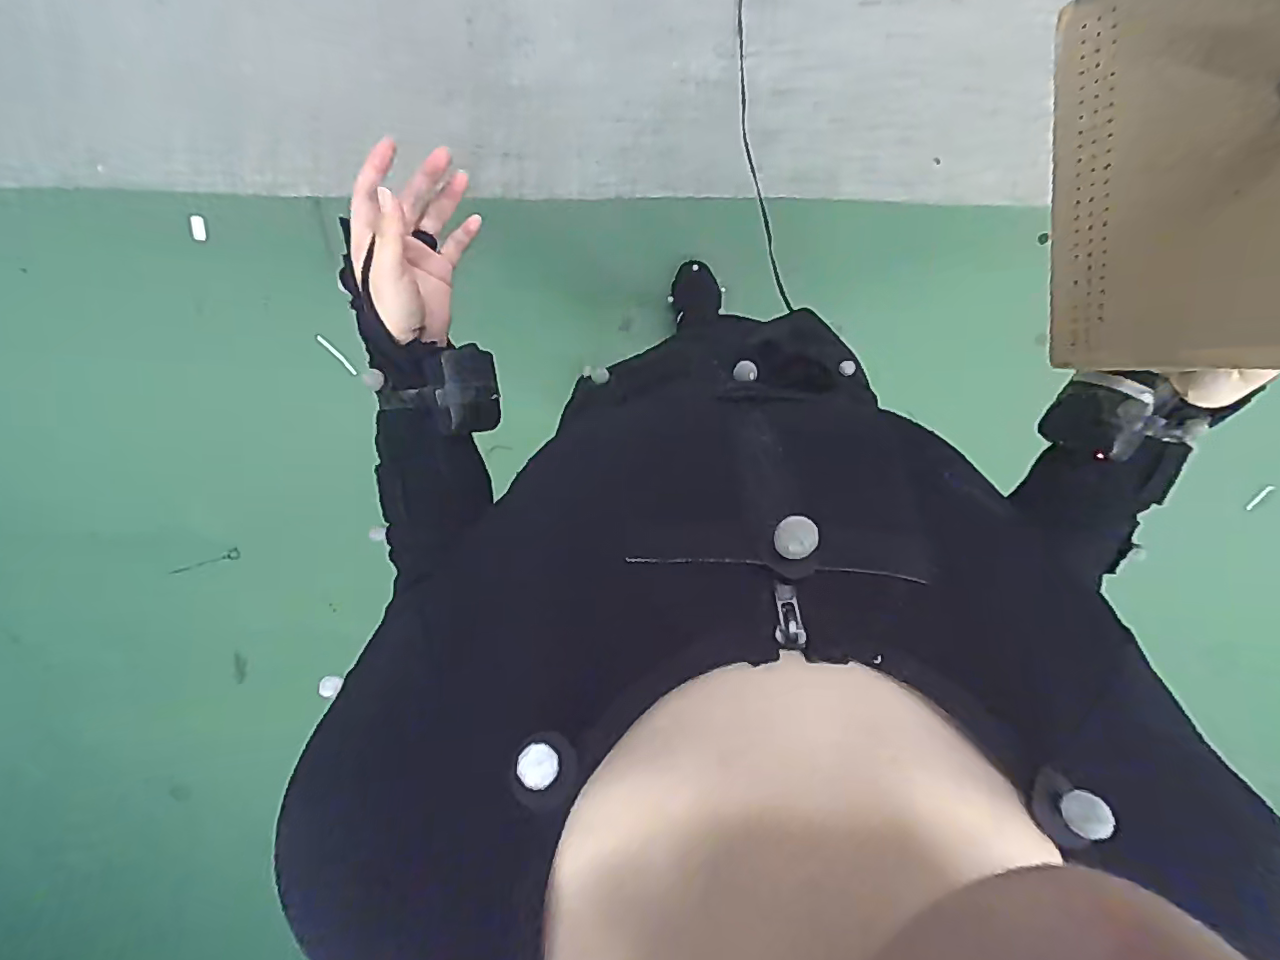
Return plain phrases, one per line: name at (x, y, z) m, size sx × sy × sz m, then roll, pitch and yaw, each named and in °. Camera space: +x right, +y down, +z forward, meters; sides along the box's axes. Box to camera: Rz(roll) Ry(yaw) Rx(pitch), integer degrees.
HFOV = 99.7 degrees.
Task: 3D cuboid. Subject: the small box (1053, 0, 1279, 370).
small box at (0.318, -0.147, 0.230) m, size 0.168 × 0.176 × 0.179 m, roll -13°, pitch 103°, yaw -10°
